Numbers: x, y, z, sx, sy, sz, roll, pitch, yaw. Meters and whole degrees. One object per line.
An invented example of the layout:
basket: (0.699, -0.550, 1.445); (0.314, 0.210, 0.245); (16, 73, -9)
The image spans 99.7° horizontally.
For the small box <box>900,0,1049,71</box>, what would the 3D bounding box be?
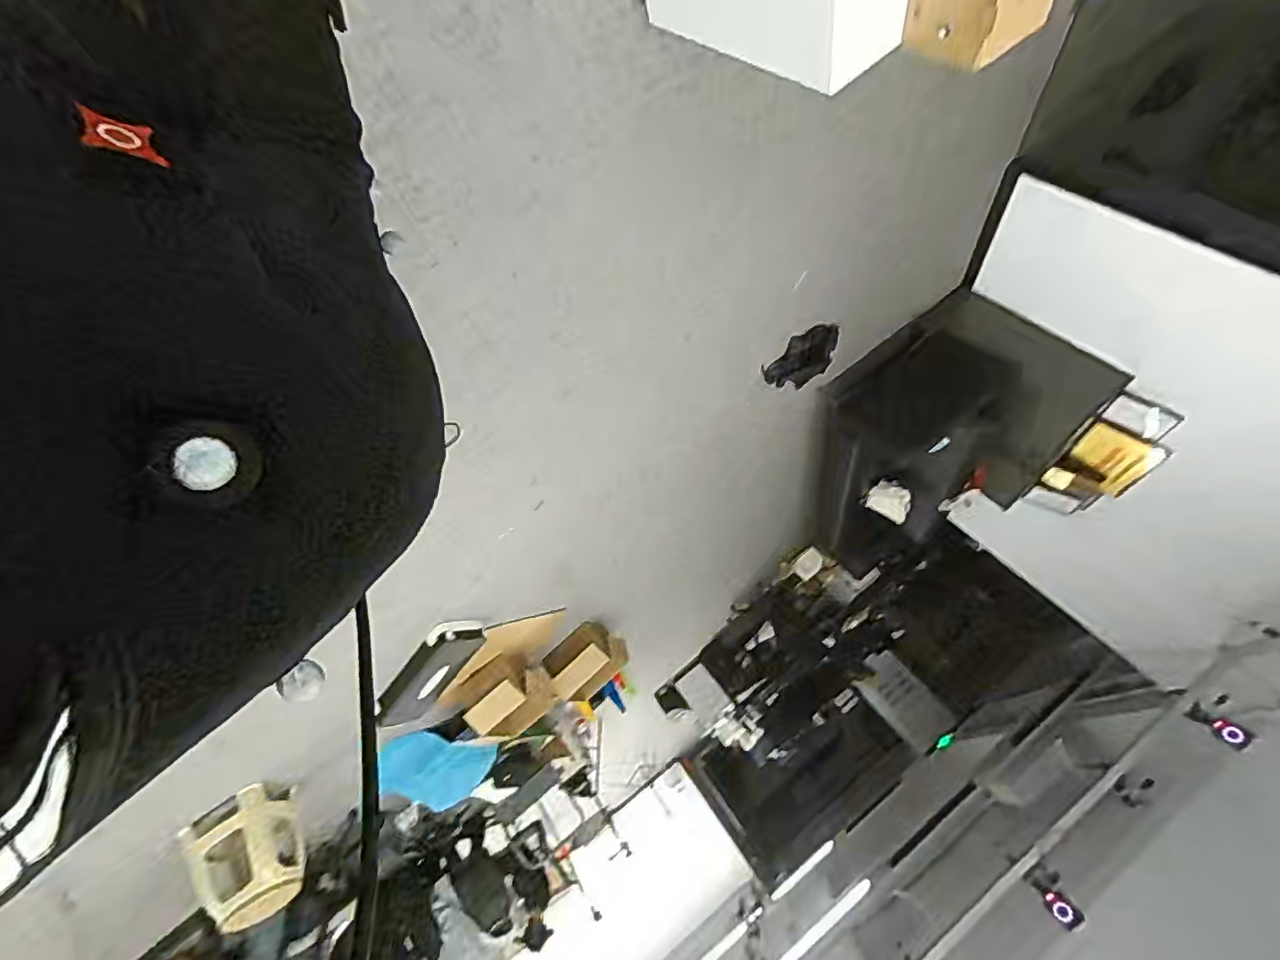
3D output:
small box: (0.576, -0.844, 0.915); (0.179, 0.176, 0.168); (-38, 151, -7)
